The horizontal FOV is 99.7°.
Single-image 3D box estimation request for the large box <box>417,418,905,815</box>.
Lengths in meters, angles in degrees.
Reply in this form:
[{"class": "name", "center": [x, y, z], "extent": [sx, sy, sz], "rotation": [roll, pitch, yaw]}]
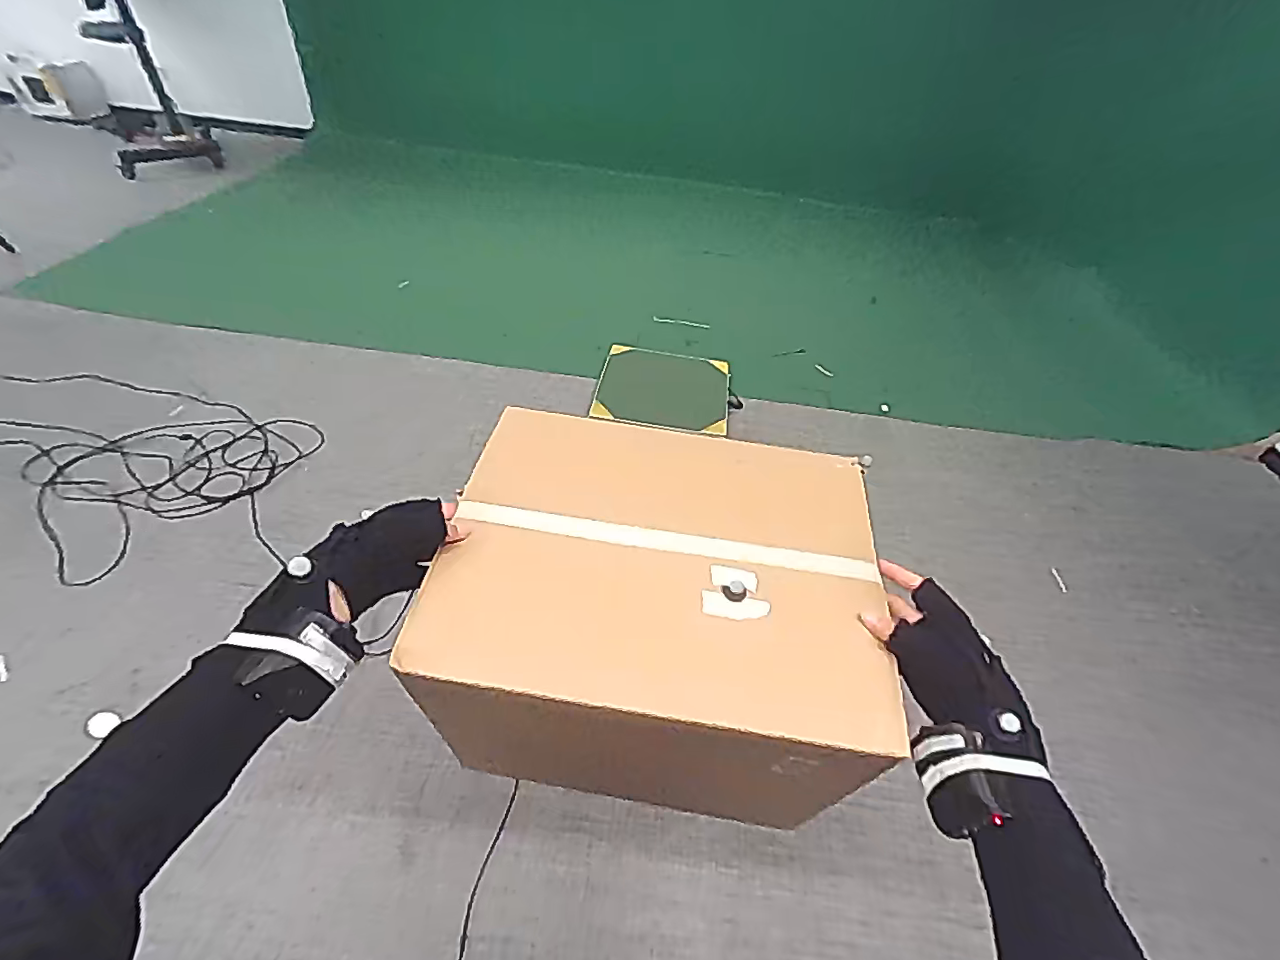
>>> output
[{"class": "large box", "center": [0.019, 0.164, 0.637], "extent": [0.408, 0.320, 0.320], "rotation": [9, 49, 2]}]
